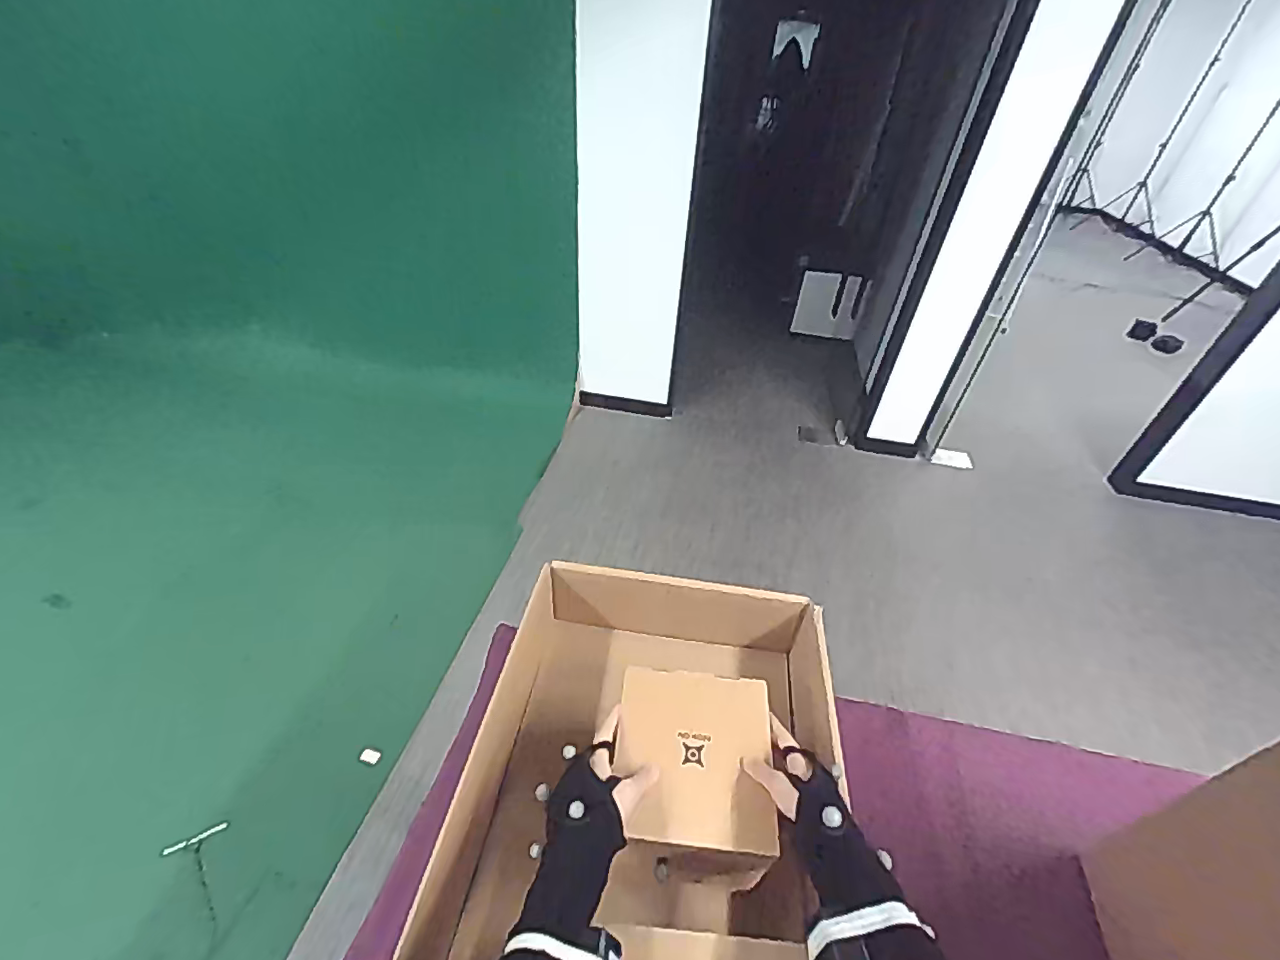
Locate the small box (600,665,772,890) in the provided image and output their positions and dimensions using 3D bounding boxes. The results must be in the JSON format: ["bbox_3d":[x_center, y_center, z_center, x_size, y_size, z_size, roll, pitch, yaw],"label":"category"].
[{"bbox_3d":[0.051,0.340,0.618,0.168,0.176,0.179,5,41,4],"label":"small box"}]
